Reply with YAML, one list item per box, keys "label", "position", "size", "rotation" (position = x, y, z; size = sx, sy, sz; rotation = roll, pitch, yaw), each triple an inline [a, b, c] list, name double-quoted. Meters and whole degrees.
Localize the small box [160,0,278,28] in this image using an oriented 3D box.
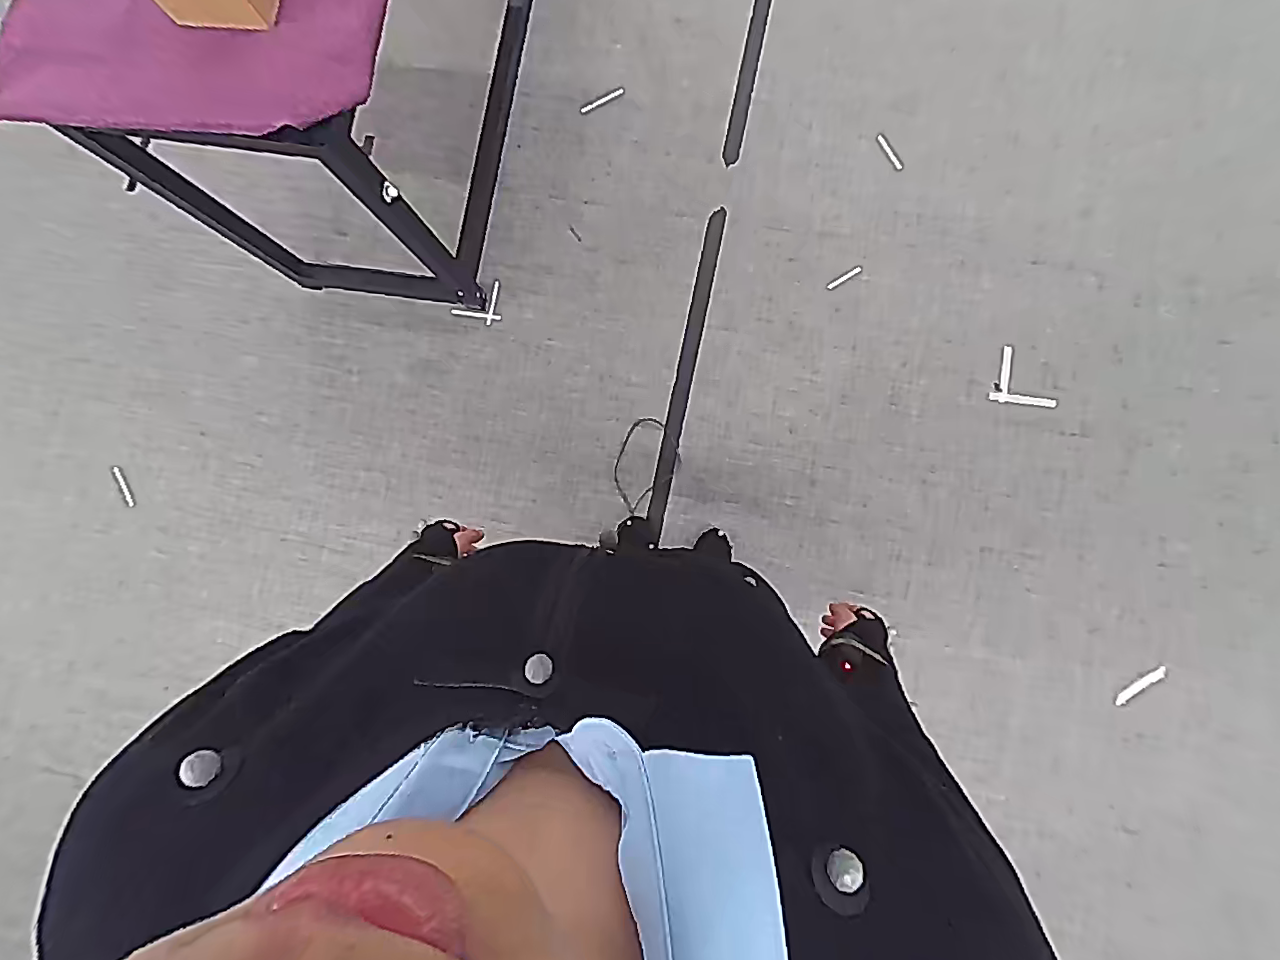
- label: "small box"
  position: [-0.684, -0.840, 0.824]
  size: [0.179, 0.176, 0.168]
  rotation: [8, 85, 4]
